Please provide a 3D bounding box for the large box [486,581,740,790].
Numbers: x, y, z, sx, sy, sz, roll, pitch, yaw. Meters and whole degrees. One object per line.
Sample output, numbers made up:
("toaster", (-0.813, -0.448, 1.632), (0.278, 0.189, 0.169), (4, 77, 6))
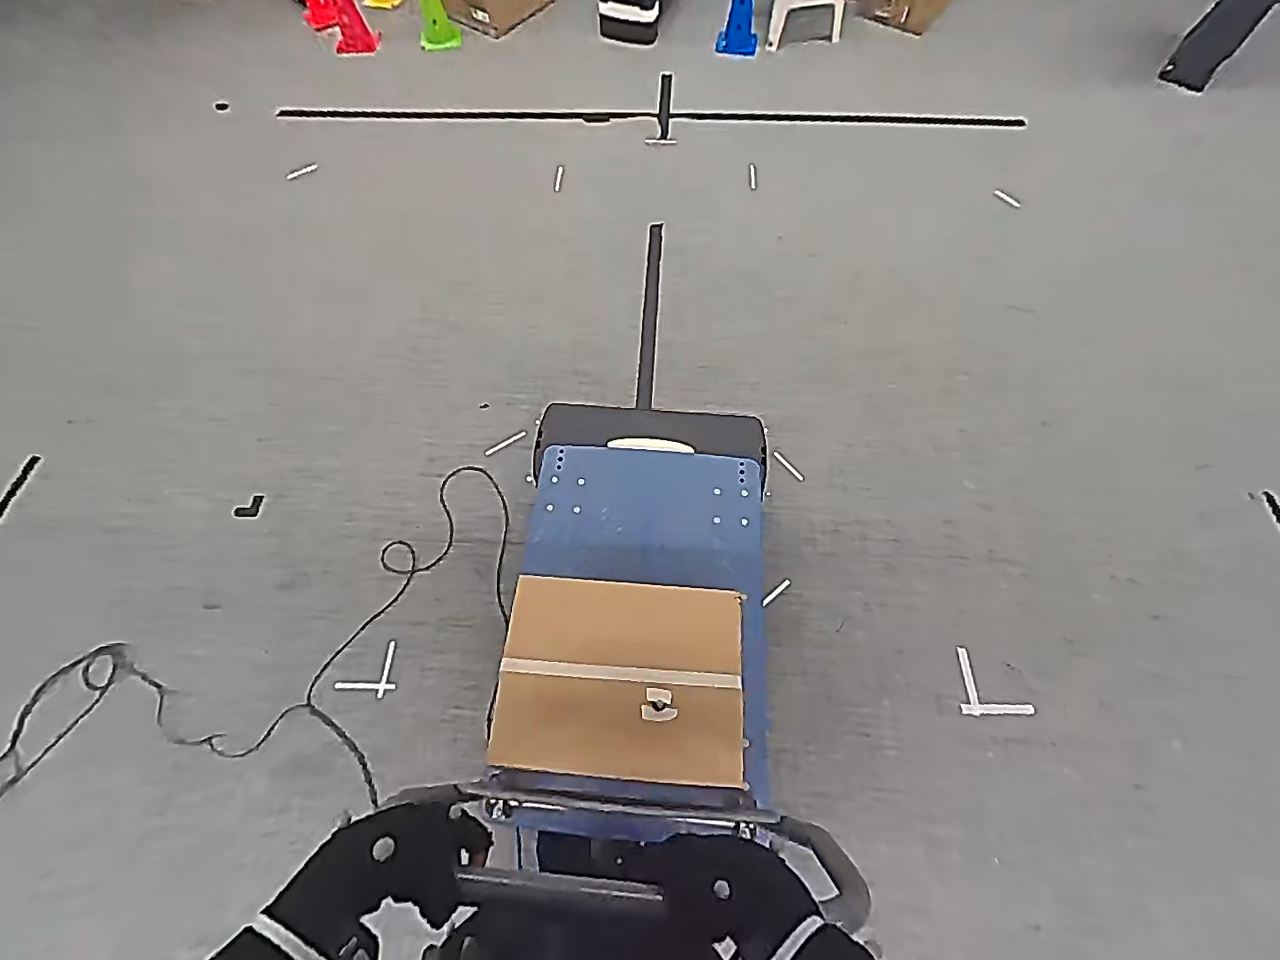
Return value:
("large box", (-0.038, 0.398, 1.034), (0.408, 0.320, 0.320), (4, 63, 1))
